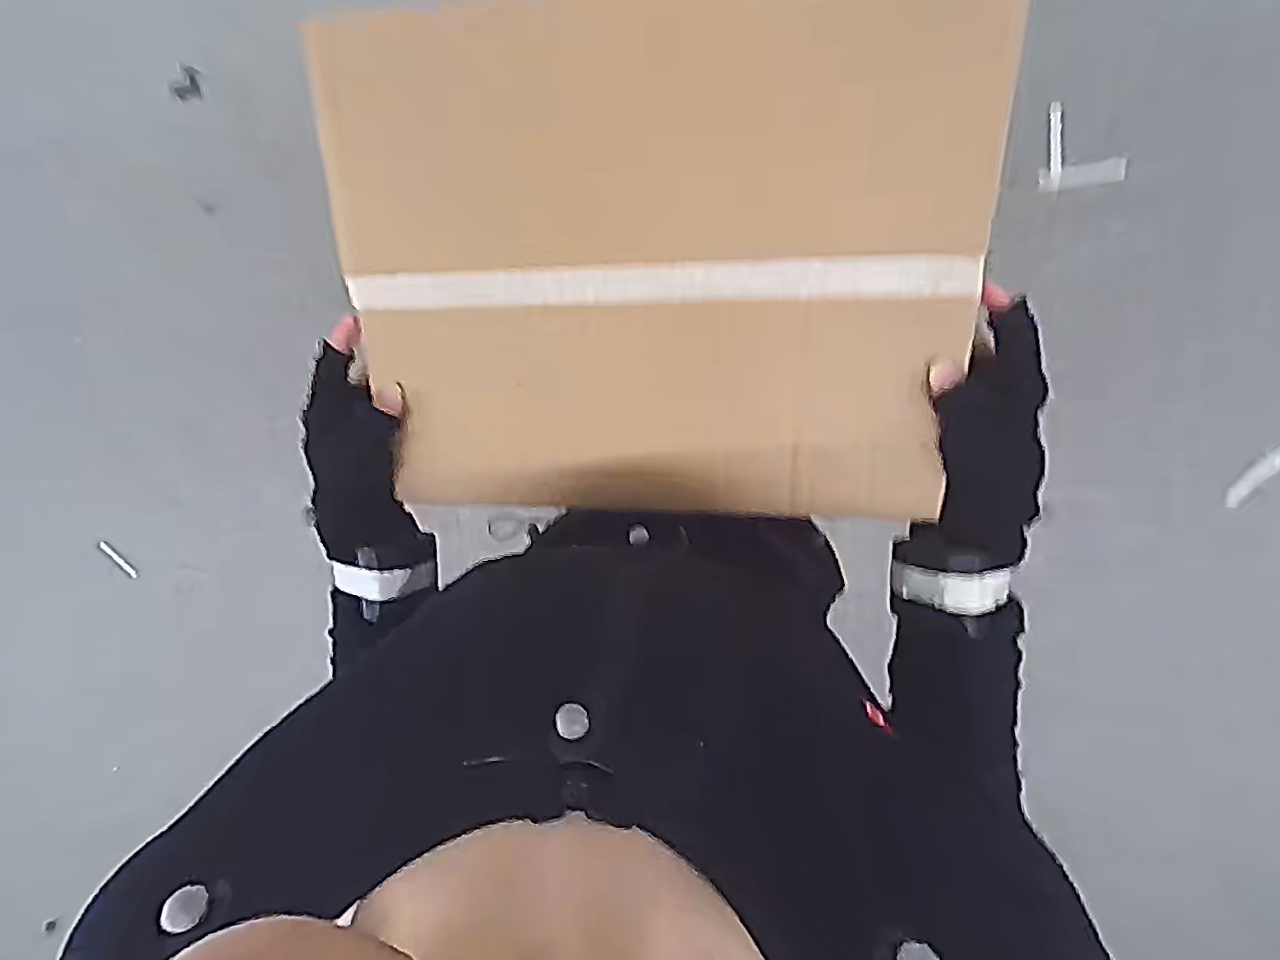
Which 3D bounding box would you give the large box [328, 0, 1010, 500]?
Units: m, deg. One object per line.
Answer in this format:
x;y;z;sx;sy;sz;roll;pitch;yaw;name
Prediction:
0.022;-0.181;0.497;0.408;0.320;0.320;2;111;8;large box
